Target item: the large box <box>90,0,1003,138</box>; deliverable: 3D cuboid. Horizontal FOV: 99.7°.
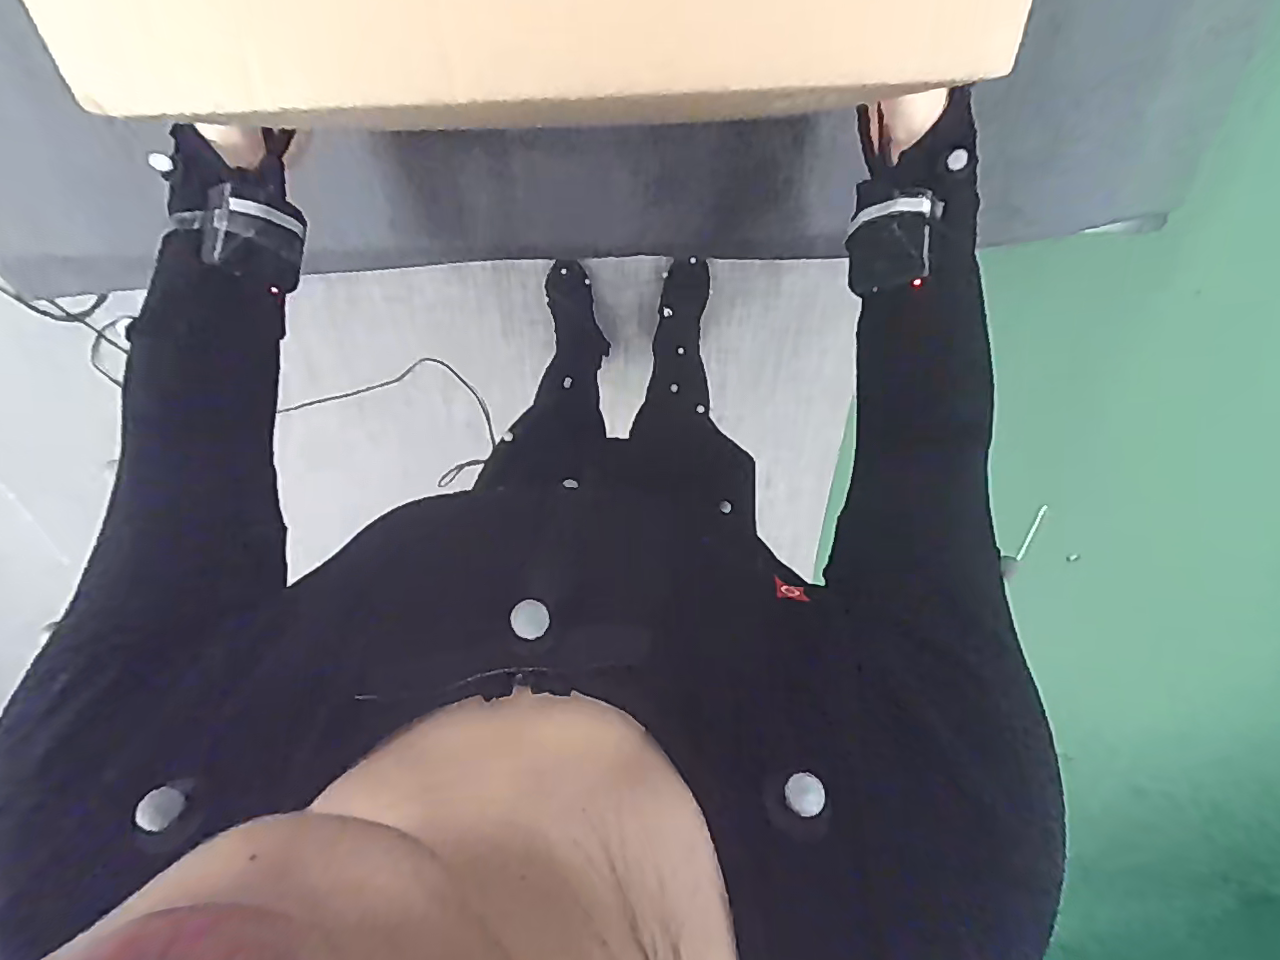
[{"bbox_3d":[-0.048,-0.386,0.301,0.408,0.320,0.320,-3,123,0],"label":"large box"}]
